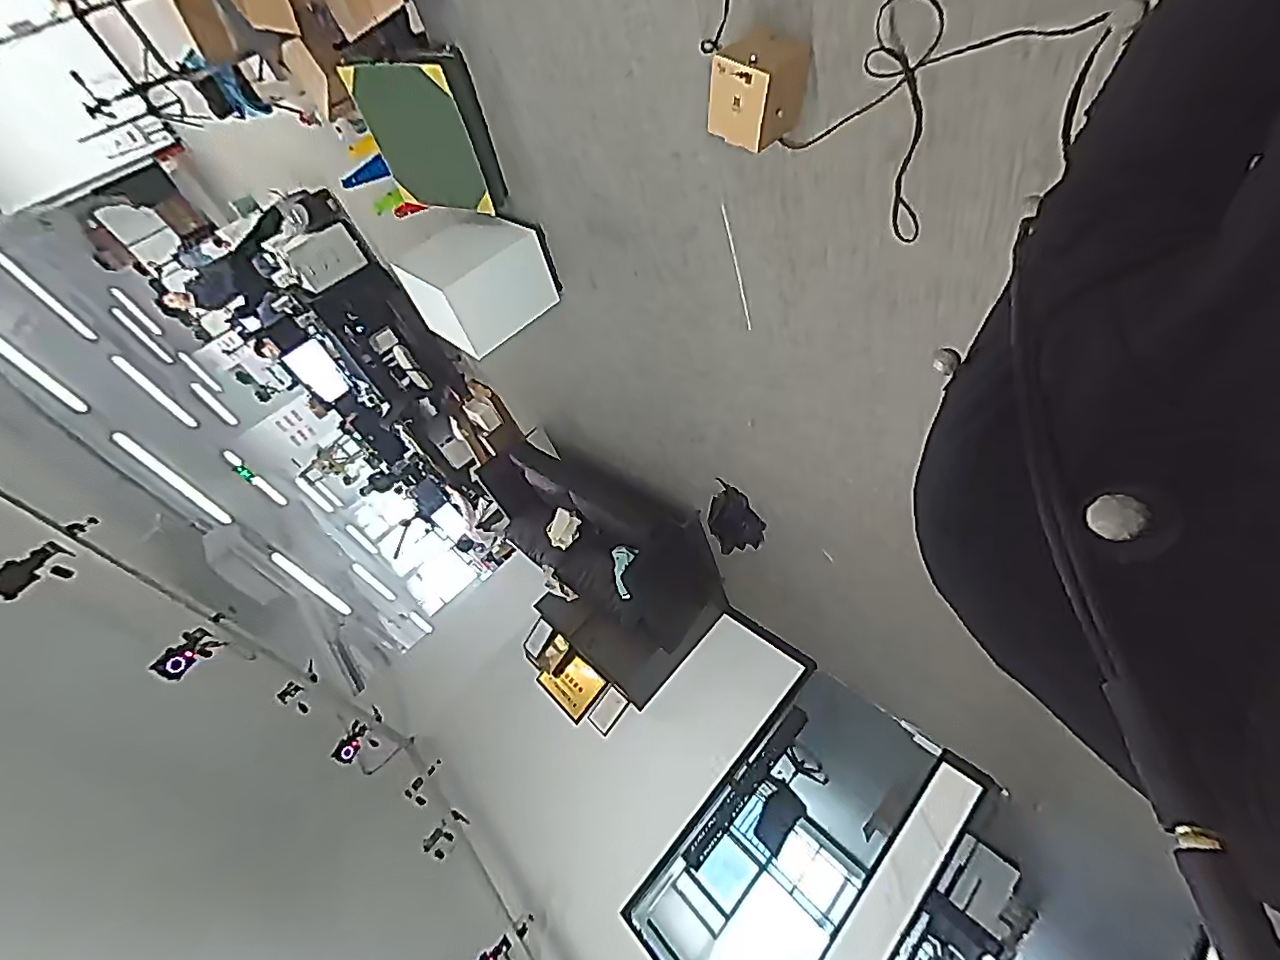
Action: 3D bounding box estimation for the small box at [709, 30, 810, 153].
[{"bbox_3d":[0.291,-0.956,1.330,0.168,0.176,0.179,39,158,22],"label":"small box"}]
